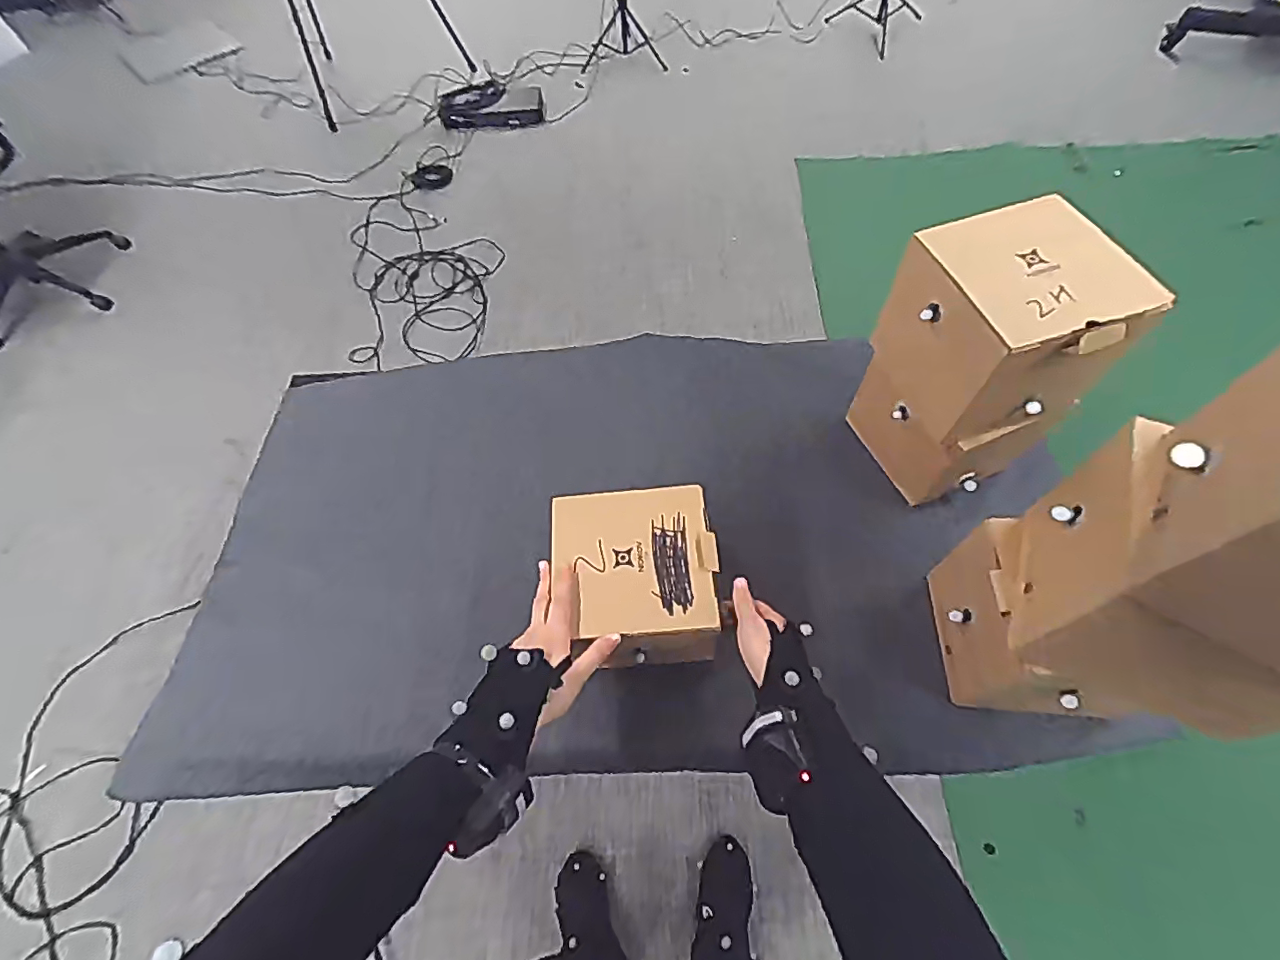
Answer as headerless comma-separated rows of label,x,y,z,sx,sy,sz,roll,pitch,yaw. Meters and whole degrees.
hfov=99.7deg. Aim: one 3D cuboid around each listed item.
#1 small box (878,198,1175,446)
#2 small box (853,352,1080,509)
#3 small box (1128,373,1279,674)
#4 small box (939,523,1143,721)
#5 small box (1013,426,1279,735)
small box,0.393,-0.166,0.595,0.168,0.176,0.179,-17,62,-2
small box,0.422,-0.090,0.739,0.168,0.176,0.179,-23,64,-5
small box,0.436,0.023,0.294,0.179,0.176,0.168,31,65,21
small box,0.454,0.161,0.594,0.179,0.176,0.168,2,58,6
small box,0.447,0.089,0.446,0.179,0.176,0.168,22,62,16
